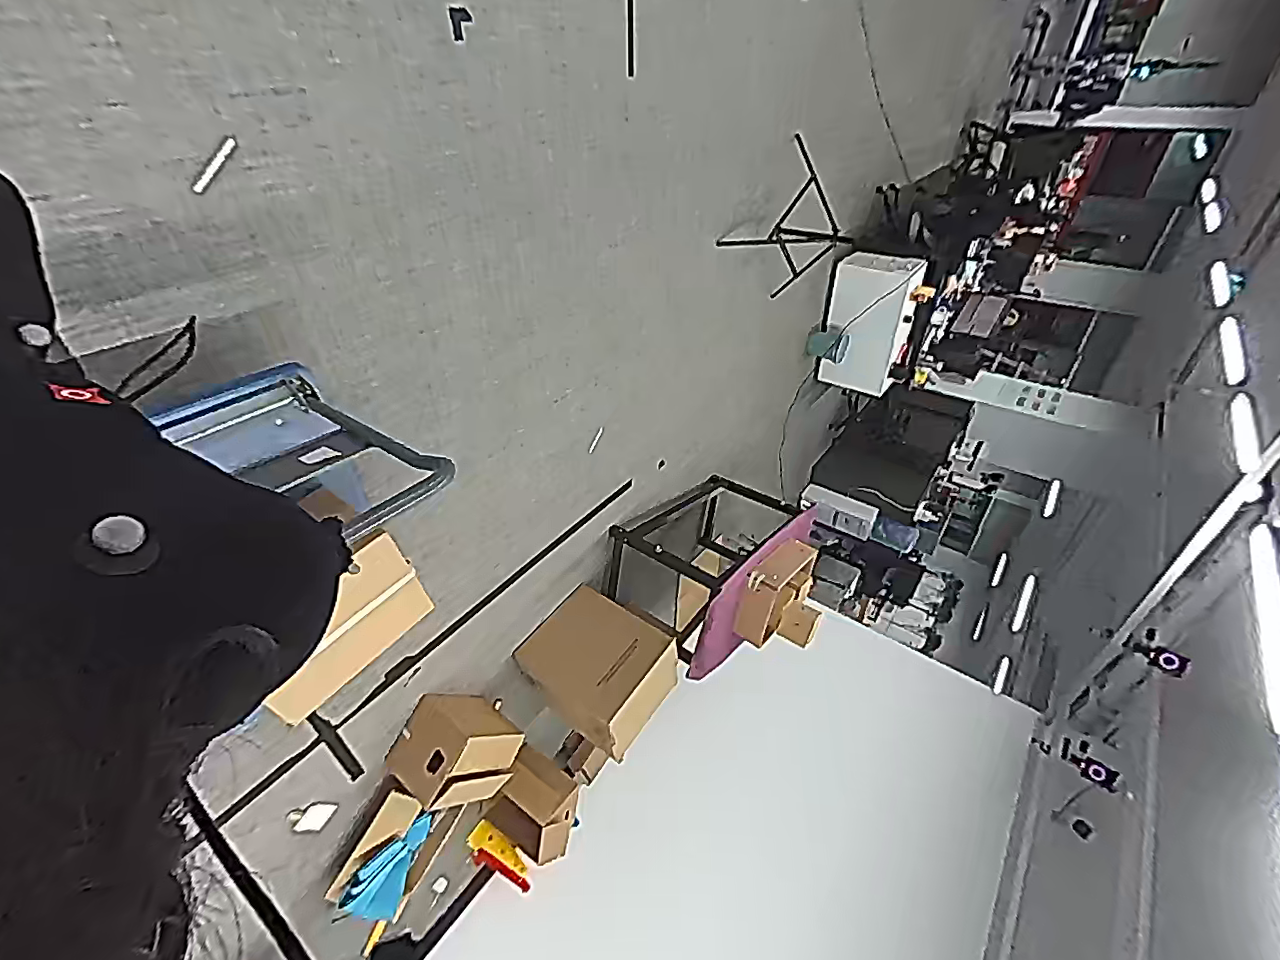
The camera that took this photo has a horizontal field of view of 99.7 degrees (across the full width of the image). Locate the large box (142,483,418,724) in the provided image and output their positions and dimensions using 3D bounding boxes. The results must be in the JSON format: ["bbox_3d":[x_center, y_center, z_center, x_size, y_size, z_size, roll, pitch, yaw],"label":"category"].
[{"bbox_3d":[-0.839,0.278,1.307,0.408,0.320,0.320,-43,142,-33],"label":"large box"}]
